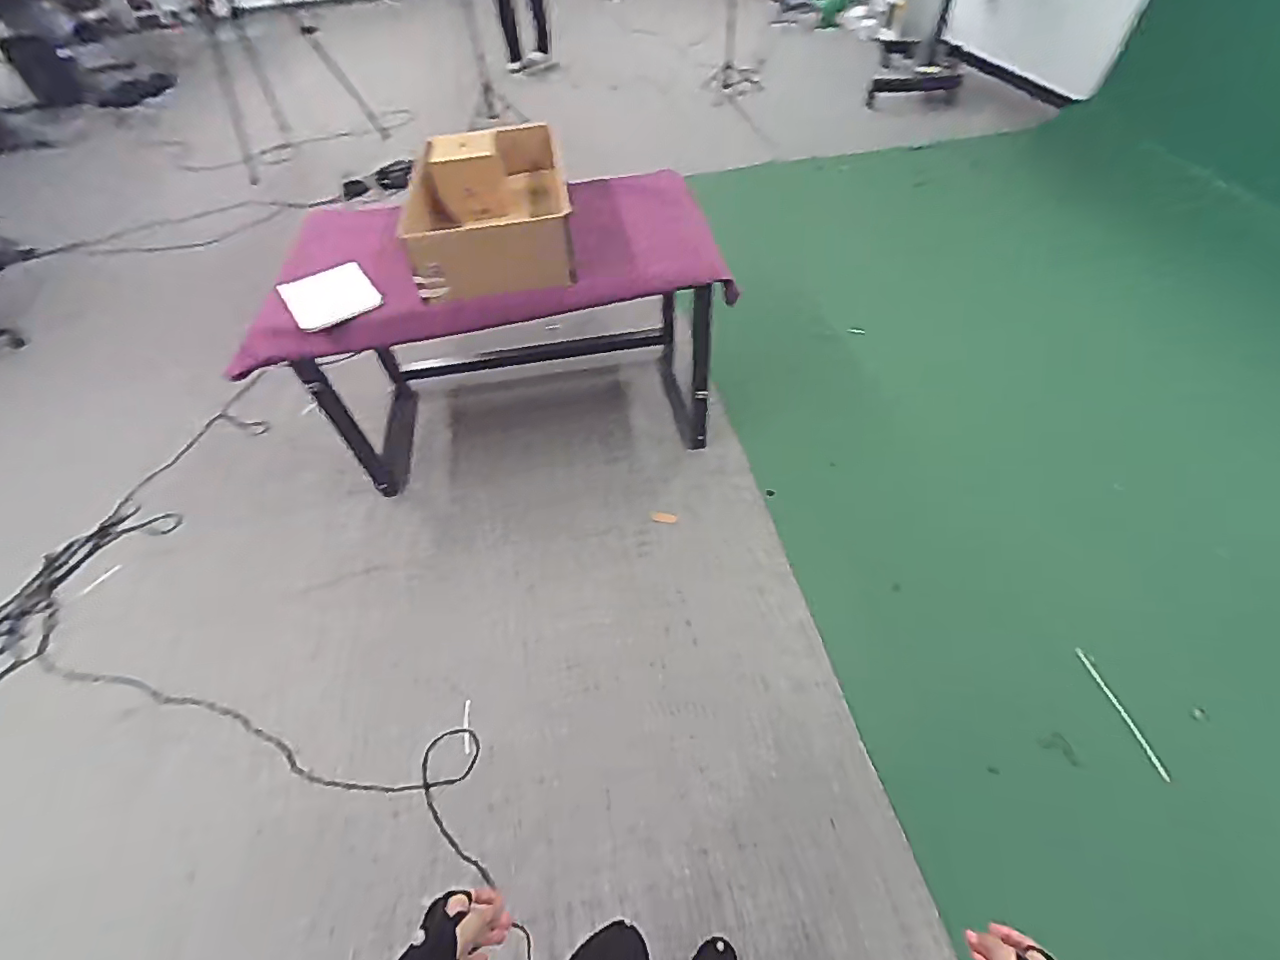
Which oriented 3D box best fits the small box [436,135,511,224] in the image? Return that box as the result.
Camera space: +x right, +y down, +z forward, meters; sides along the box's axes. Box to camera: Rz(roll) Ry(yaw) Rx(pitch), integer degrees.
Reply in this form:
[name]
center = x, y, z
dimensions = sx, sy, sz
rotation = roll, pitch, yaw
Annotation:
[small box]
center = -0.470, -0.856, 1.554
dimensions = 0.168, 0.176, 0.179
rotation = -9, 52, -2
